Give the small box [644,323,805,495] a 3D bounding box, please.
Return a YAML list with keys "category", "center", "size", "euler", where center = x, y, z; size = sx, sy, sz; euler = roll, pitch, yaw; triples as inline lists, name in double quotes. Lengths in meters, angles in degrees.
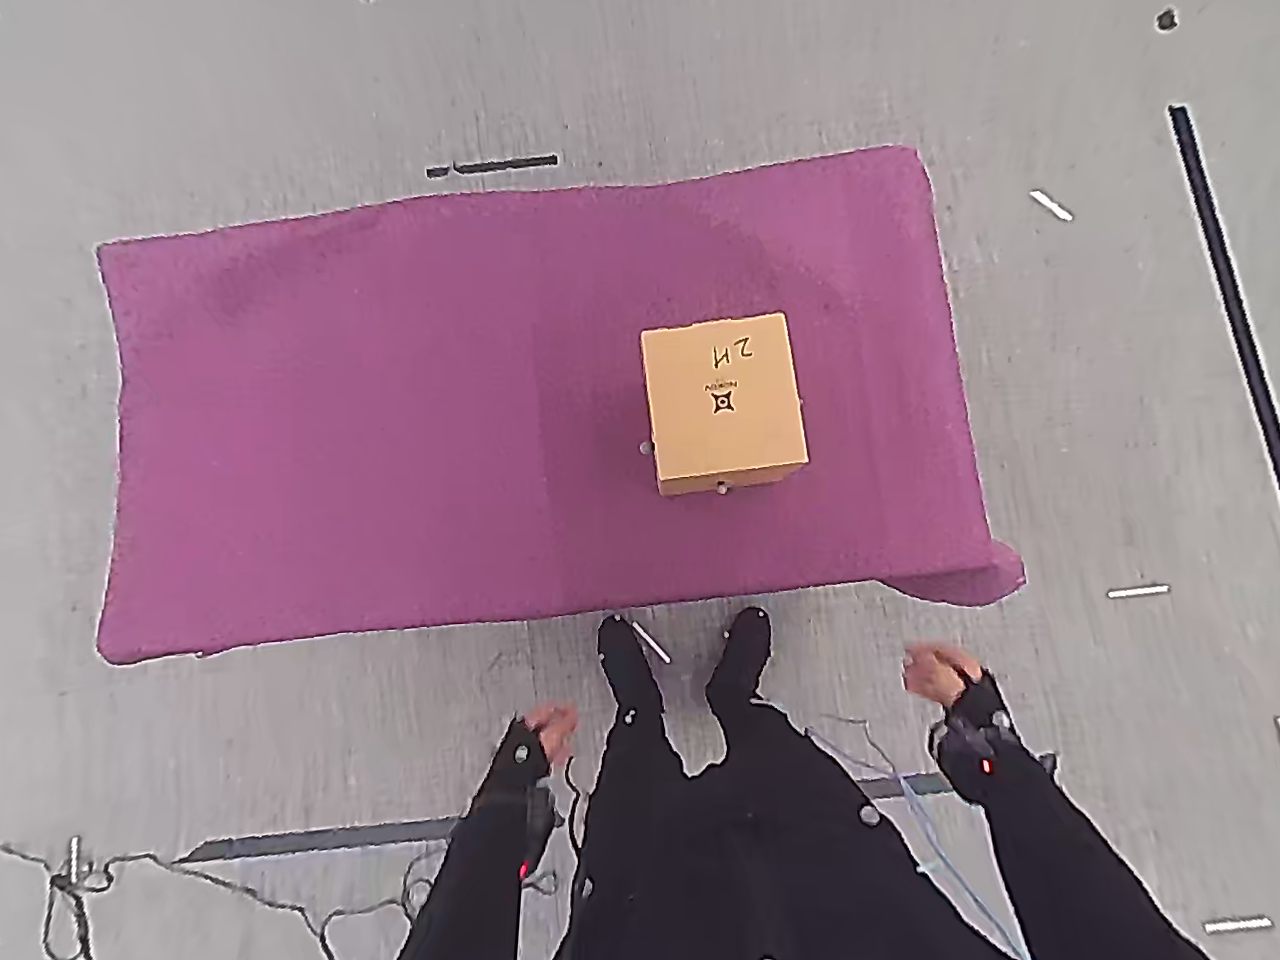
- category: "small box"
  center: [0.098, -0.076, 0.685]
  size: [0.168, 0.176, 0.179]
  euler: [-7, 82, 2]
